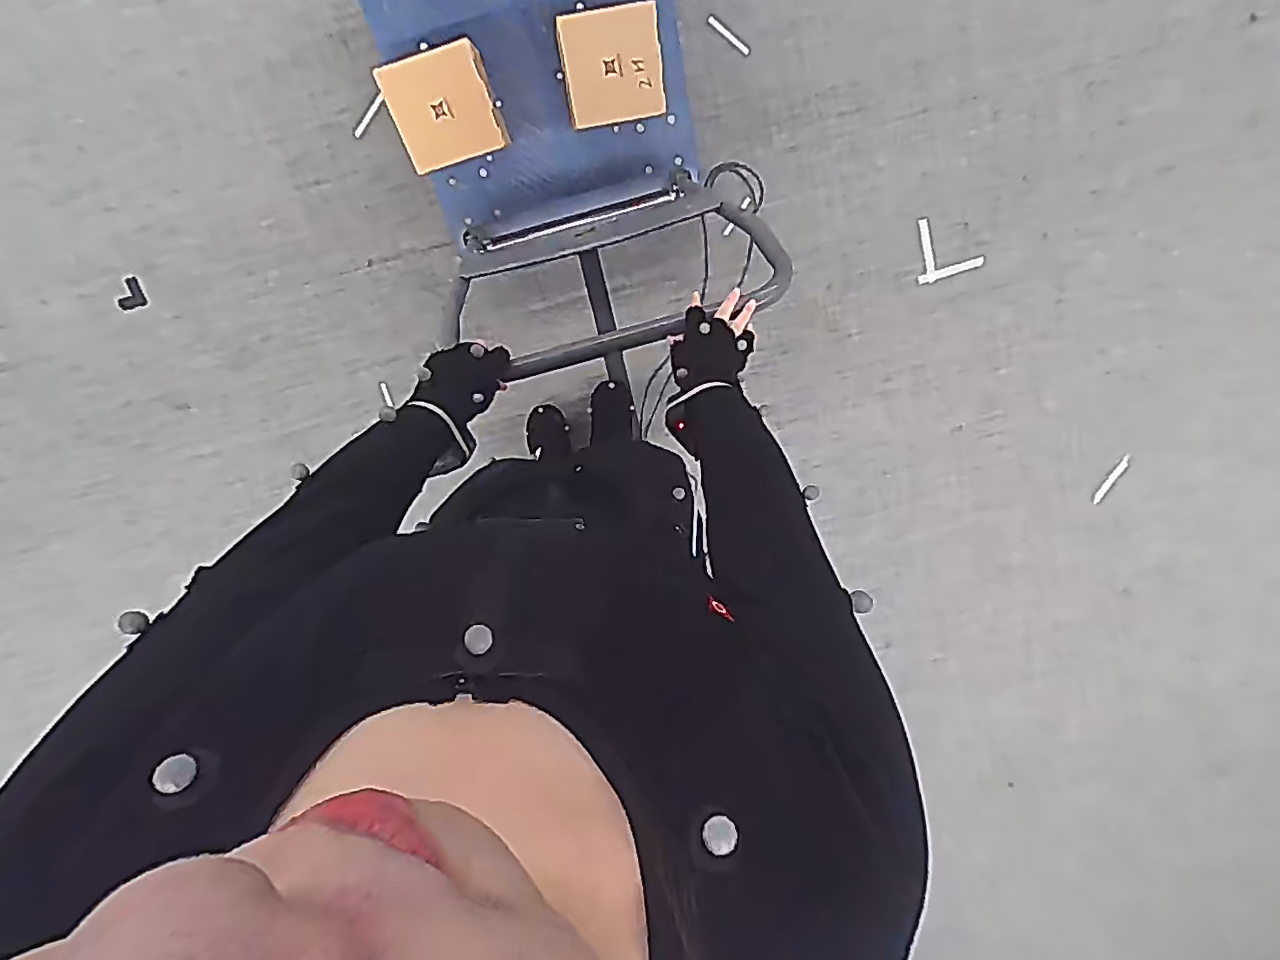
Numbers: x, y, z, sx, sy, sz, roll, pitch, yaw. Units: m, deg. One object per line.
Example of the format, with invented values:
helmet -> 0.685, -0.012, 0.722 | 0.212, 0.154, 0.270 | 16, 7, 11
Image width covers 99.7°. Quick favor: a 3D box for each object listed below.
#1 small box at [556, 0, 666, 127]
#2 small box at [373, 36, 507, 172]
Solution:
small box -> -0.057, -0.781, 1.028 | 0.179, 0.176, 0.168 | -12, 124, -2
small box -> -0.365, -0.702, 1.026 | 0.179, 0.176, 0.168 | -19, 124, 1
